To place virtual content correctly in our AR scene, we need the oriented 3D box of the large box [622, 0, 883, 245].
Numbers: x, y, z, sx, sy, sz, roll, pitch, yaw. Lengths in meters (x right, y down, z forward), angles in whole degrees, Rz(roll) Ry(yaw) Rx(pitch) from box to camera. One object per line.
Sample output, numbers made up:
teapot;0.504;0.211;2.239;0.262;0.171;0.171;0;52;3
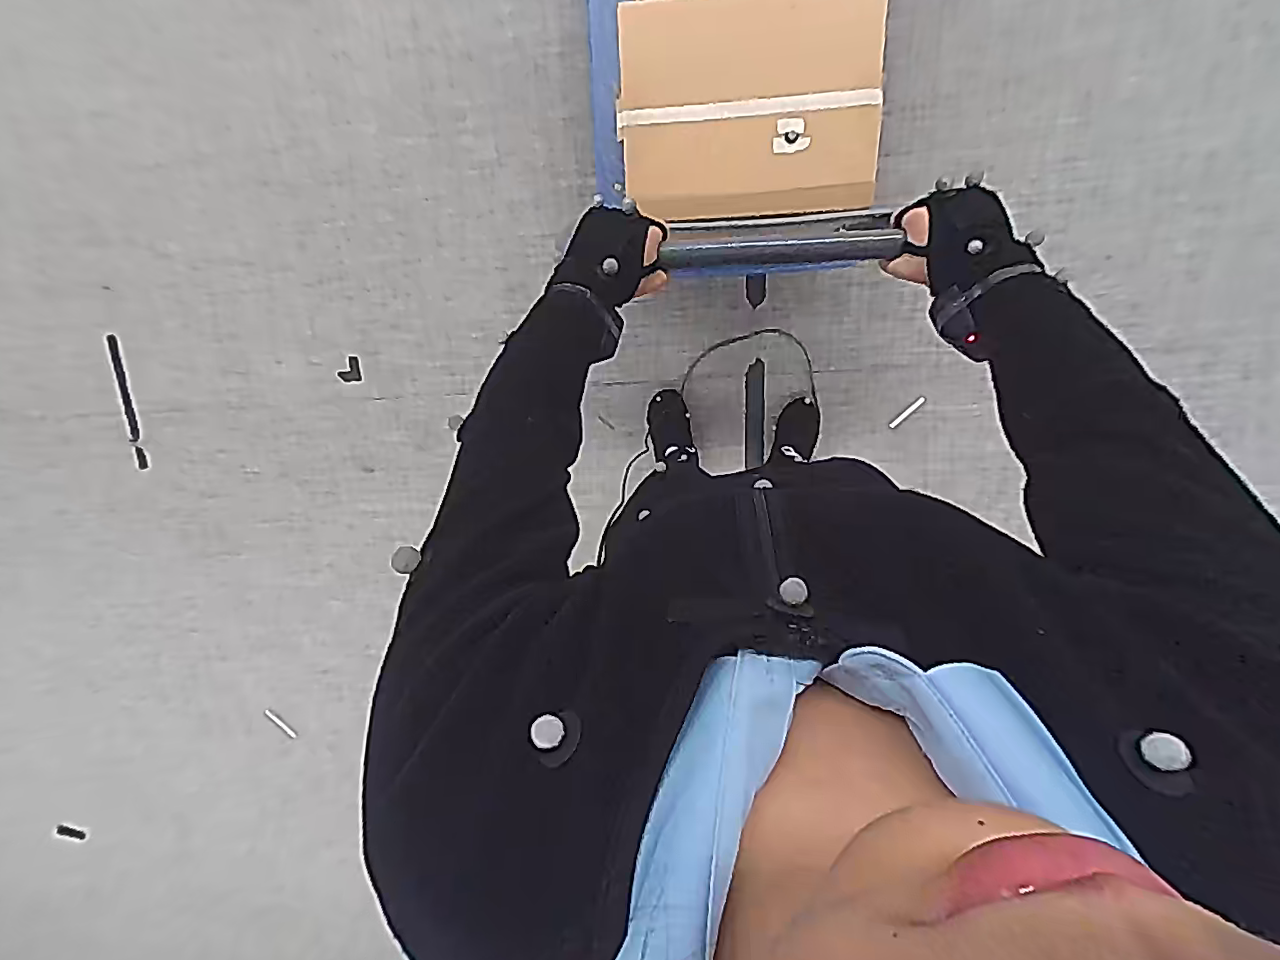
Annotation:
large box;0.187;-0.638;1.012;0.408;0.320;0.320;-1;107;5
